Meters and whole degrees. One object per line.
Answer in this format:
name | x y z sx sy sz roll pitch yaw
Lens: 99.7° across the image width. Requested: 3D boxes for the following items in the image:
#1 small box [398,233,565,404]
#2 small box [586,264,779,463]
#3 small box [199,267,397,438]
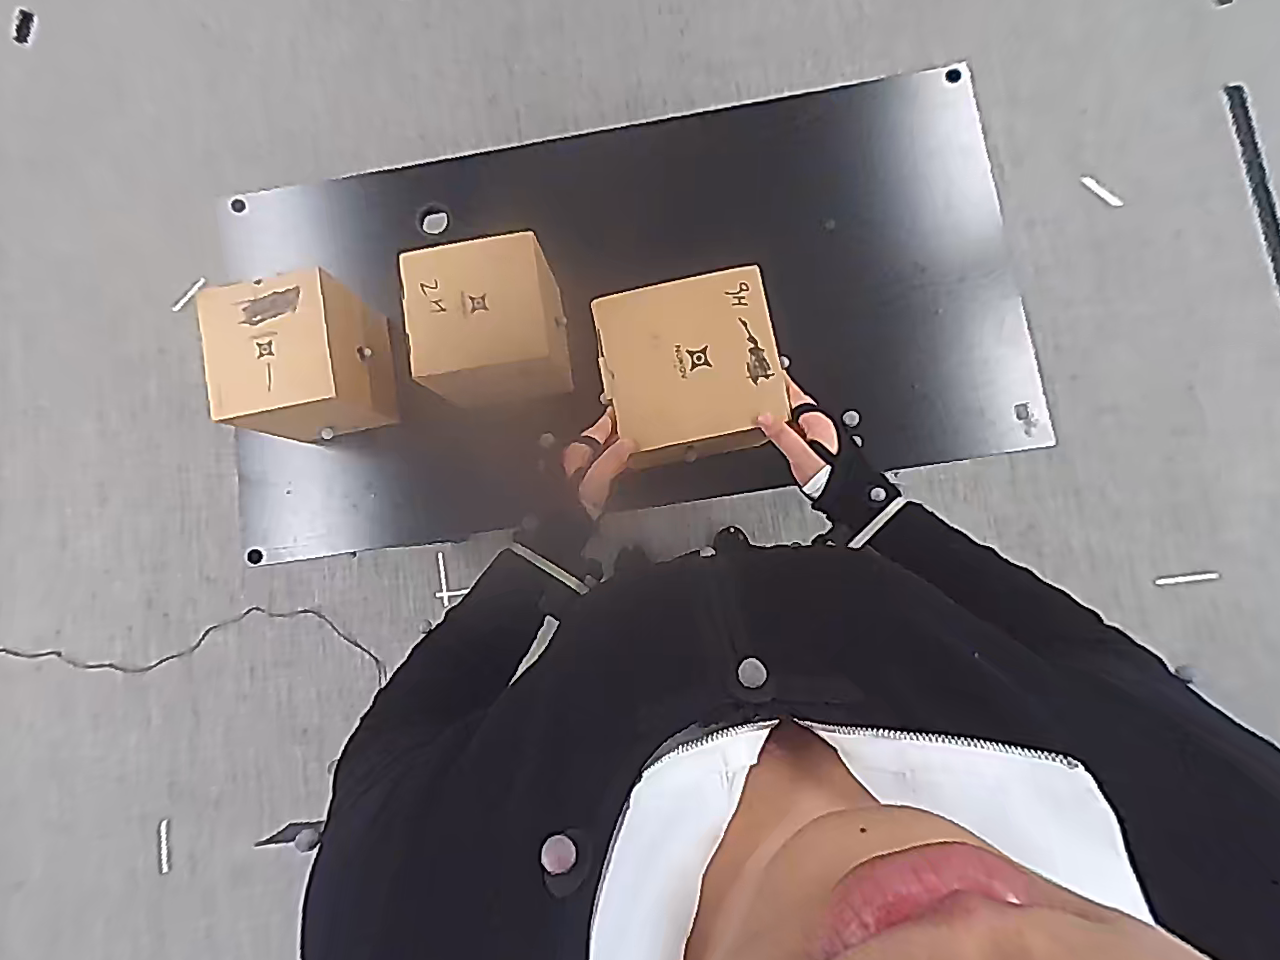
small box | -0.207 -0.213 0.756 0.179 0.176 0.168 -9 84 2
small box | 0.047 -0.120 0.630 0.179 0.176 0.168 -11 86 3
small box | -0.471 -0.169 0.767 0.168 0.176 0.179 -11 85 2
